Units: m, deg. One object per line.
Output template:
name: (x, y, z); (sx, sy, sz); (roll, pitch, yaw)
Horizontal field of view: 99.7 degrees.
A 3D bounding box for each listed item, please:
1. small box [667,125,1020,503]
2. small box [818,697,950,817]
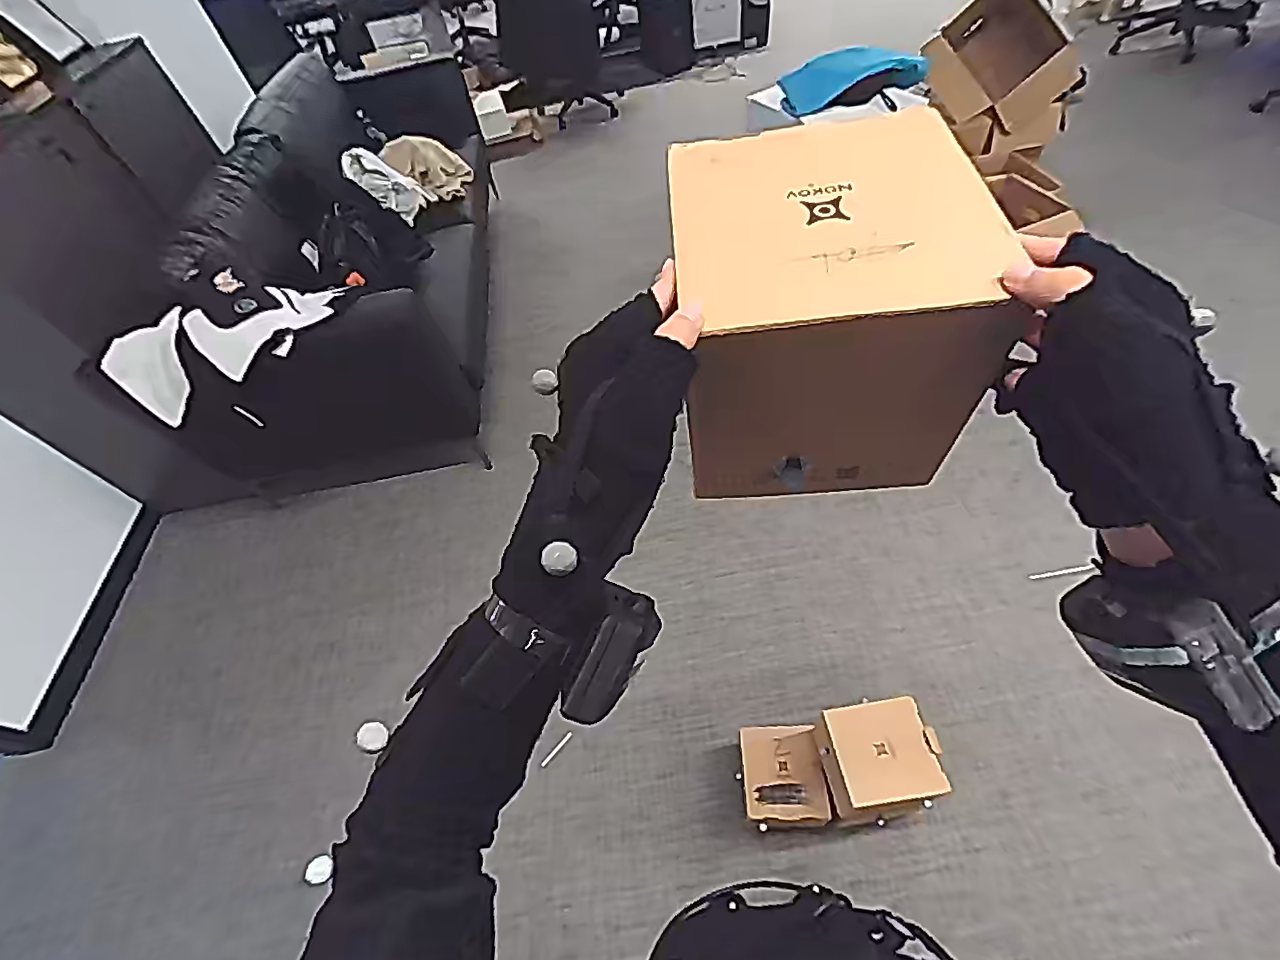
small box: (0.107, -0.103, 0.371); (0.168, 0.176, 0.179); (-5, 58, 7)
small box: (0.456, 0.540, 1.047); (0.179, 0.176, 0.168); (-11, 52, 1)
